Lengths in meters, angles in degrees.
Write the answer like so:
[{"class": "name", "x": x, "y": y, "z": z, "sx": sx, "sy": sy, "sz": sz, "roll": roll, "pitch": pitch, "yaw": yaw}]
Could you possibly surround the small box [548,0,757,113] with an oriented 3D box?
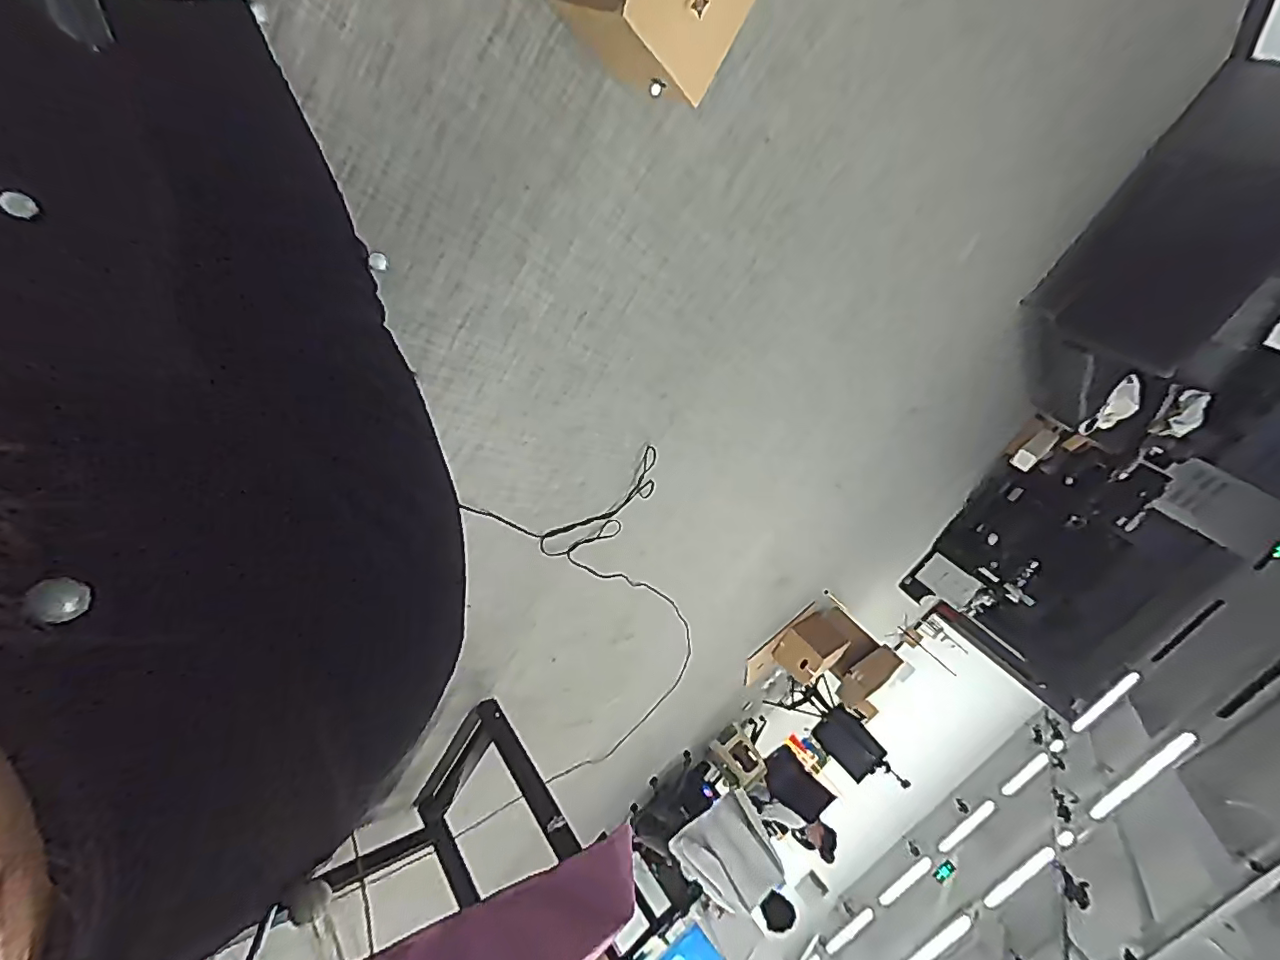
[{"class": "small box", "x": 0.016, "y": -0.630, "z": 0.703, "sx": 0.179, "sy": 0.176, "sz": 0.168, "roll": 9, "pitch": 118, "yaw": -53}]
